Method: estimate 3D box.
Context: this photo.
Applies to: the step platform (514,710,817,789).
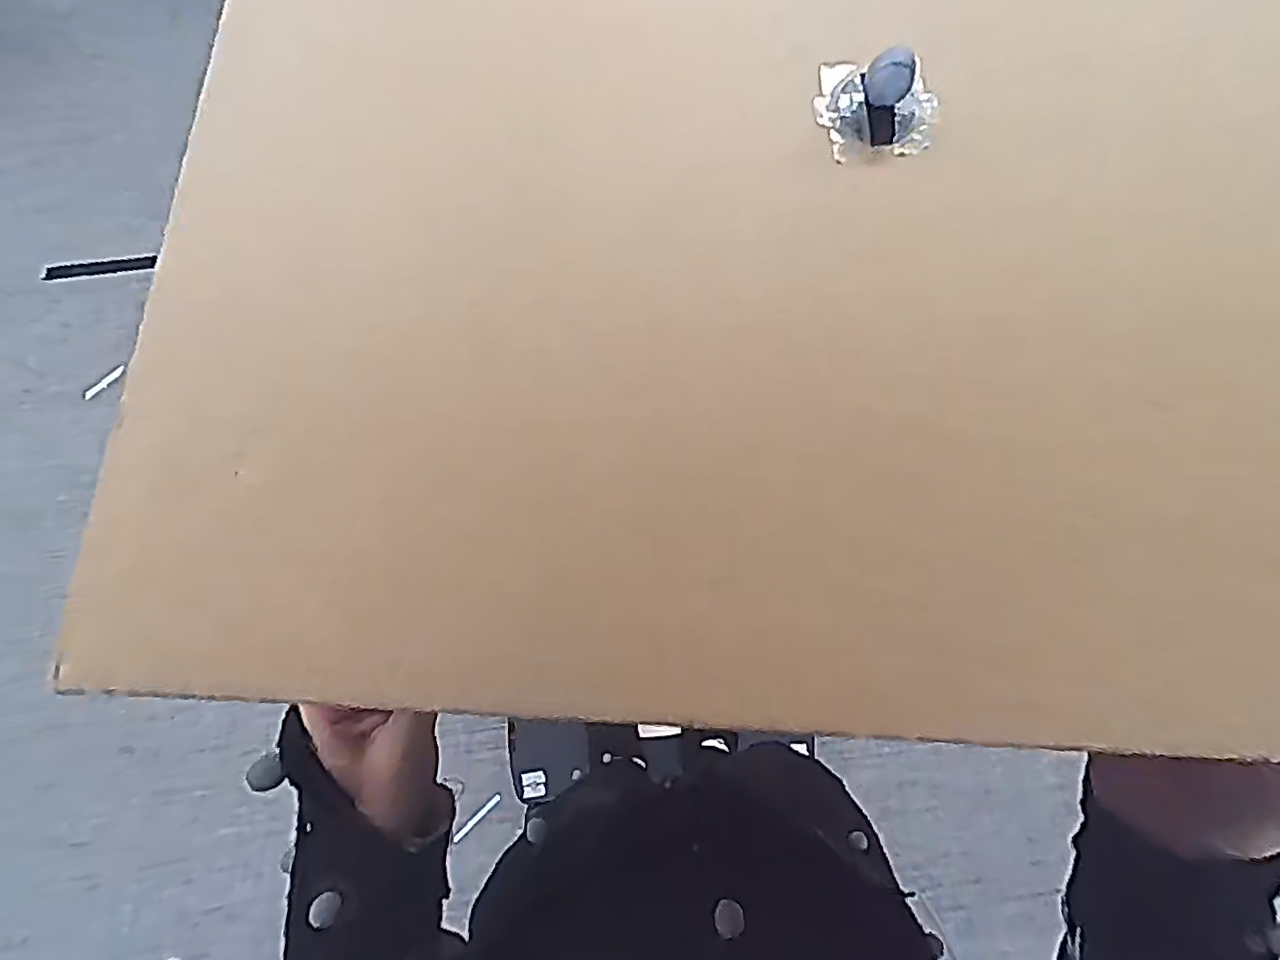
[{"bbox_3d":[0.055,0.541,1.262,0.684,0.204,0.286,-1,75,-1],"label":"step platform"}]
